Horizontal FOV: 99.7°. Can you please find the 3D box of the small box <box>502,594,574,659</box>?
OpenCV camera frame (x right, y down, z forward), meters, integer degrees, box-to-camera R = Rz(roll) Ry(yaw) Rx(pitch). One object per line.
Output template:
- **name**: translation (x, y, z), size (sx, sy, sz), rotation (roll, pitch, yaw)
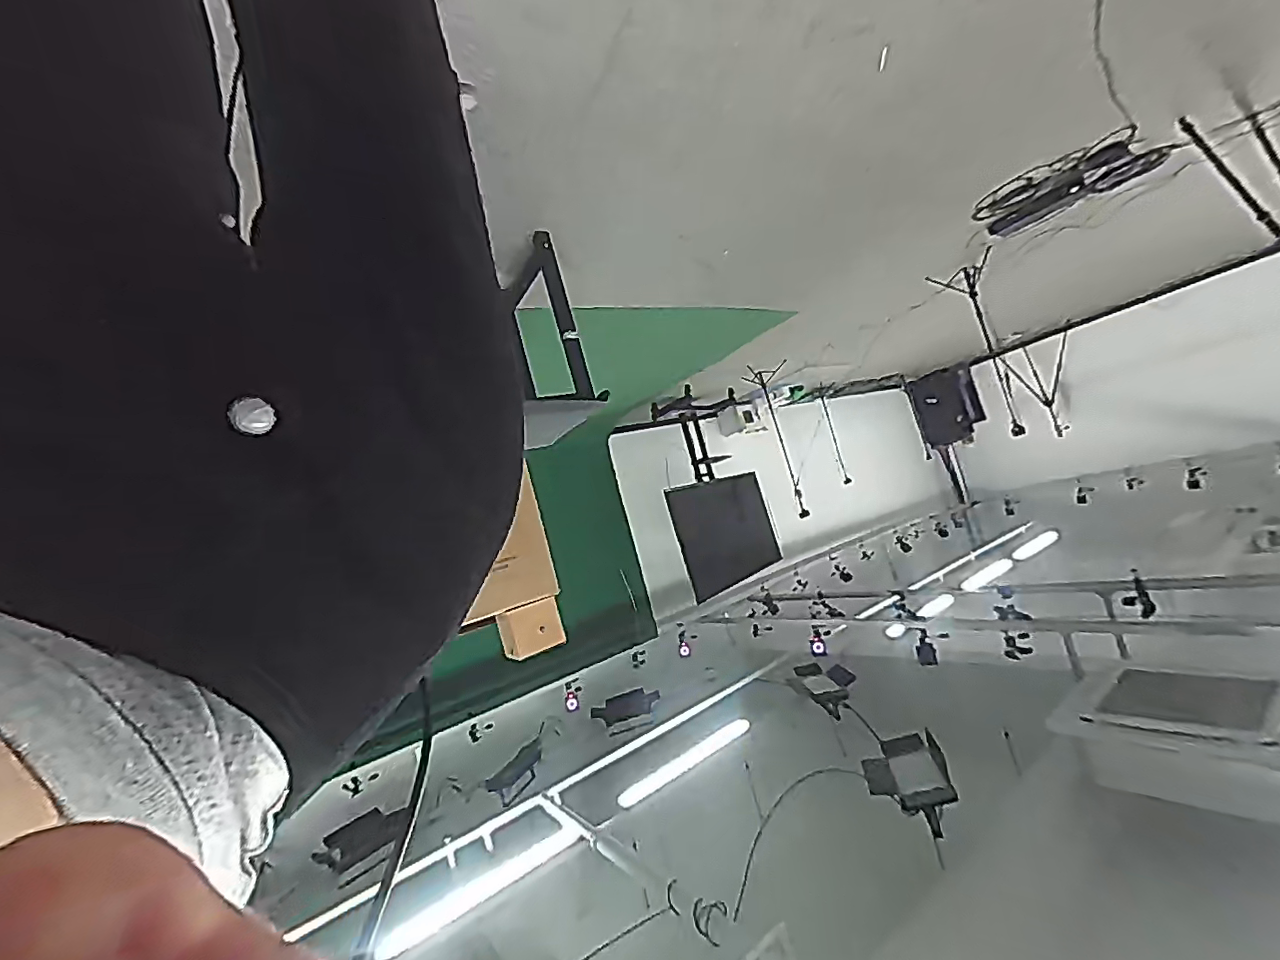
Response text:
- **small box**: translation (-0.363, 0.509, 1.903), size (0.179, 0.176, 0.168), rotation (-16, 175, -31)
